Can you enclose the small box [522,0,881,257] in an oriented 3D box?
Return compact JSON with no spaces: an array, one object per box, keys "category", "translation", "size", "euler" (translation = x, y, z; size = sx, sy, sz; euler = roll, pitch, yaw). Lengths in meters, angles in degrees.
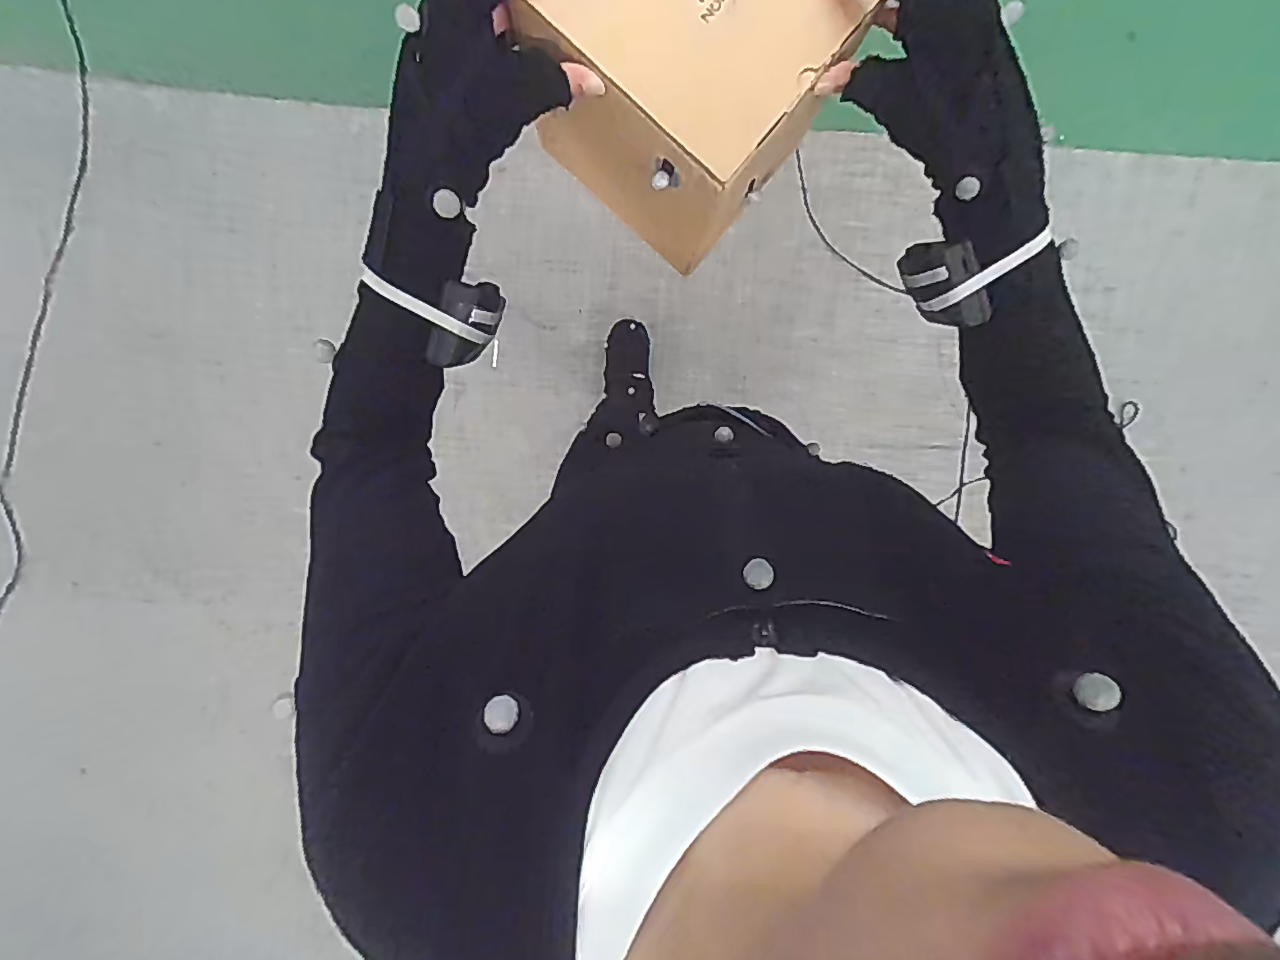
[{"category":"small box","translation":[0.033,-0.306,0.410],"size":[0.179,0.176,0.168],"euler":[41,90,-5]}]
